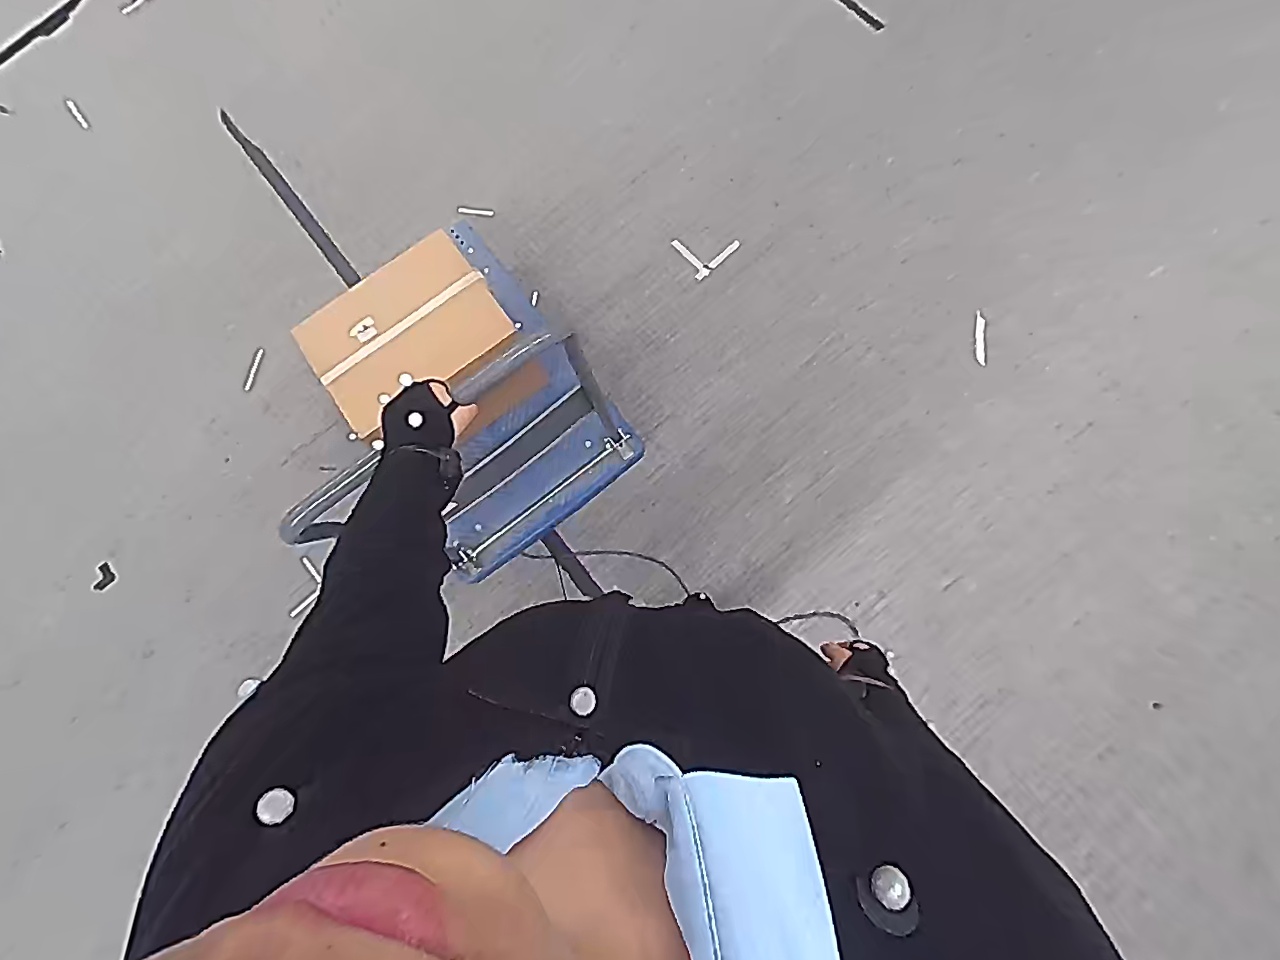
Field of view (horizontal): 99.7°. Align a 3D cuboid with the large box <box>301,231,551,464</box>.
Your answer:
[{"bbox_3d":[-0.492,-0.298,1.318,0.408,0.320,0.320,-36,78,-2],"label":"large box"}]
